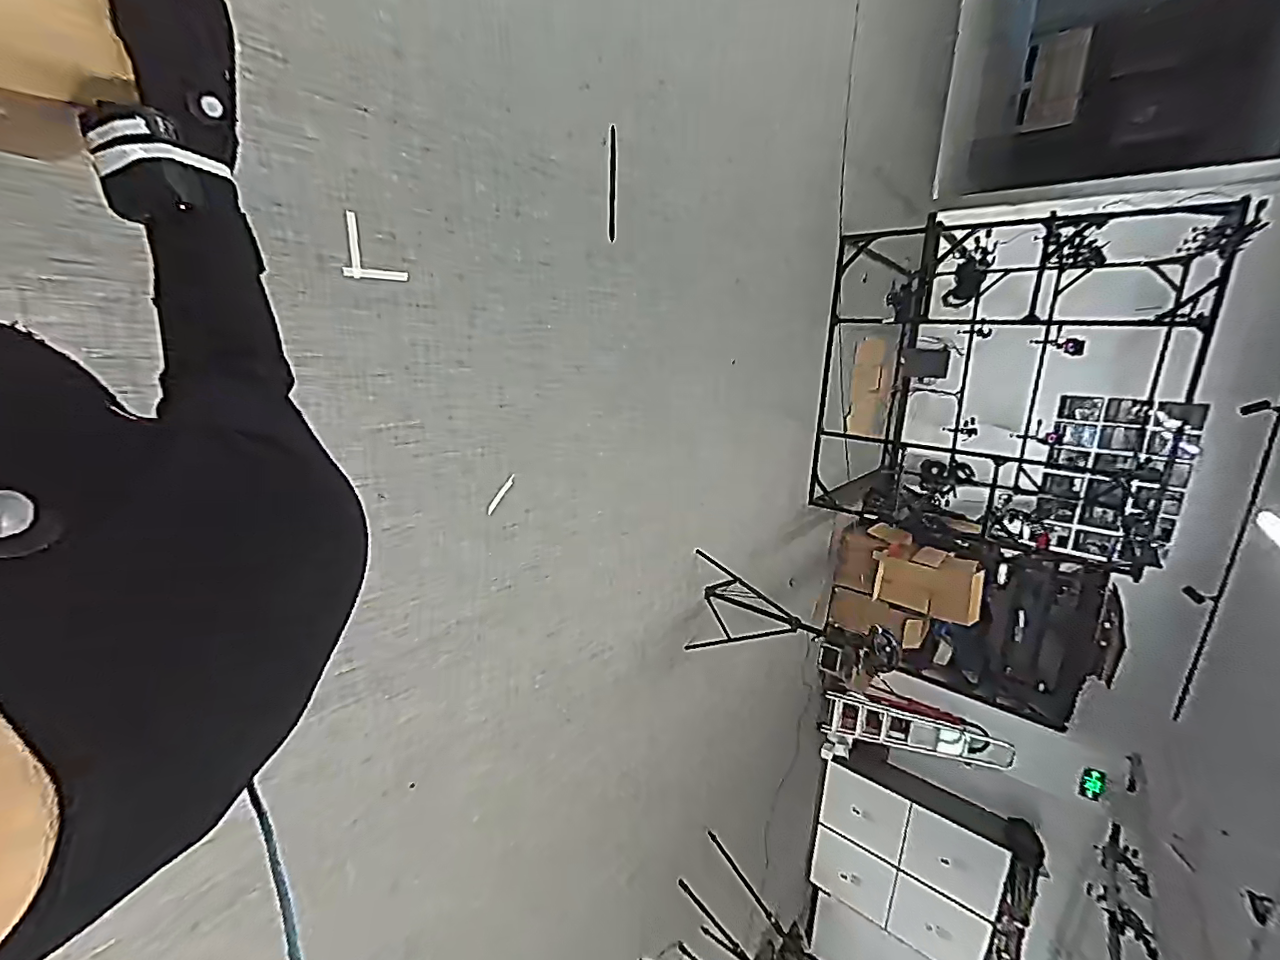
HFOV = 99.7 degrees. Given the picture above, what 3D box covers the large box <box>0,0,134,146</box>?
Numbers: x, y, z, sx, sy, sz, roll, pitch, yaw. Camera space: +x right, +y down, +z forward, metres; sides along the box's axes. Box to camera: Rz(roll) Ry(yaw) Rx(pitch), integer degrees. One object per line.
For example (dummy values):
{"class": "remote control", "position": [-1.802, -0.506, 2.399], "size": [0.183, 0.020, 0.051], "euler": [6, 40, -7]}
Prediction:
{"class": "large box", "position": [-0.596, -0.408, 0.277], "size": [0.408, 0.320, 0.320], "euler": [-19, 120, -51]}
